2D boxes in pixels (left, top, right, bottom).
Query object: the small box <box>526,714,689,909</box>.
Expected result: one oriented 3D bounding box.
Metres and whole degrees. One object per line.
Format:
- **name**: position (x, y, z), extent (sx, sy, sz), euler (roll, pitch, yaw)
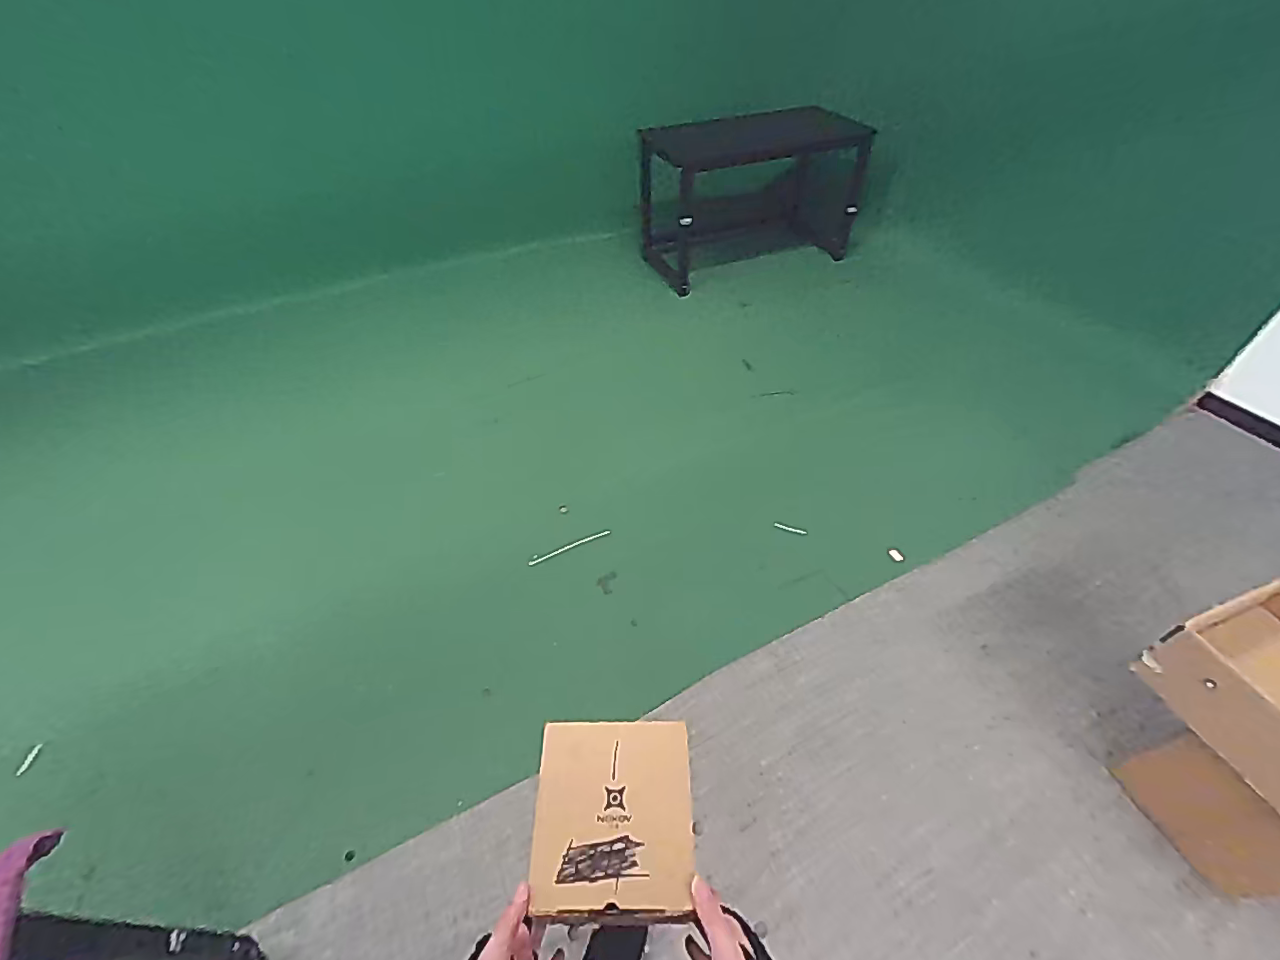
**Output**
- **small box**: position (-0.027, 0.394, 0.640), extent (0.168, 0.176, 0.179), euler (-1, 48, 2)
